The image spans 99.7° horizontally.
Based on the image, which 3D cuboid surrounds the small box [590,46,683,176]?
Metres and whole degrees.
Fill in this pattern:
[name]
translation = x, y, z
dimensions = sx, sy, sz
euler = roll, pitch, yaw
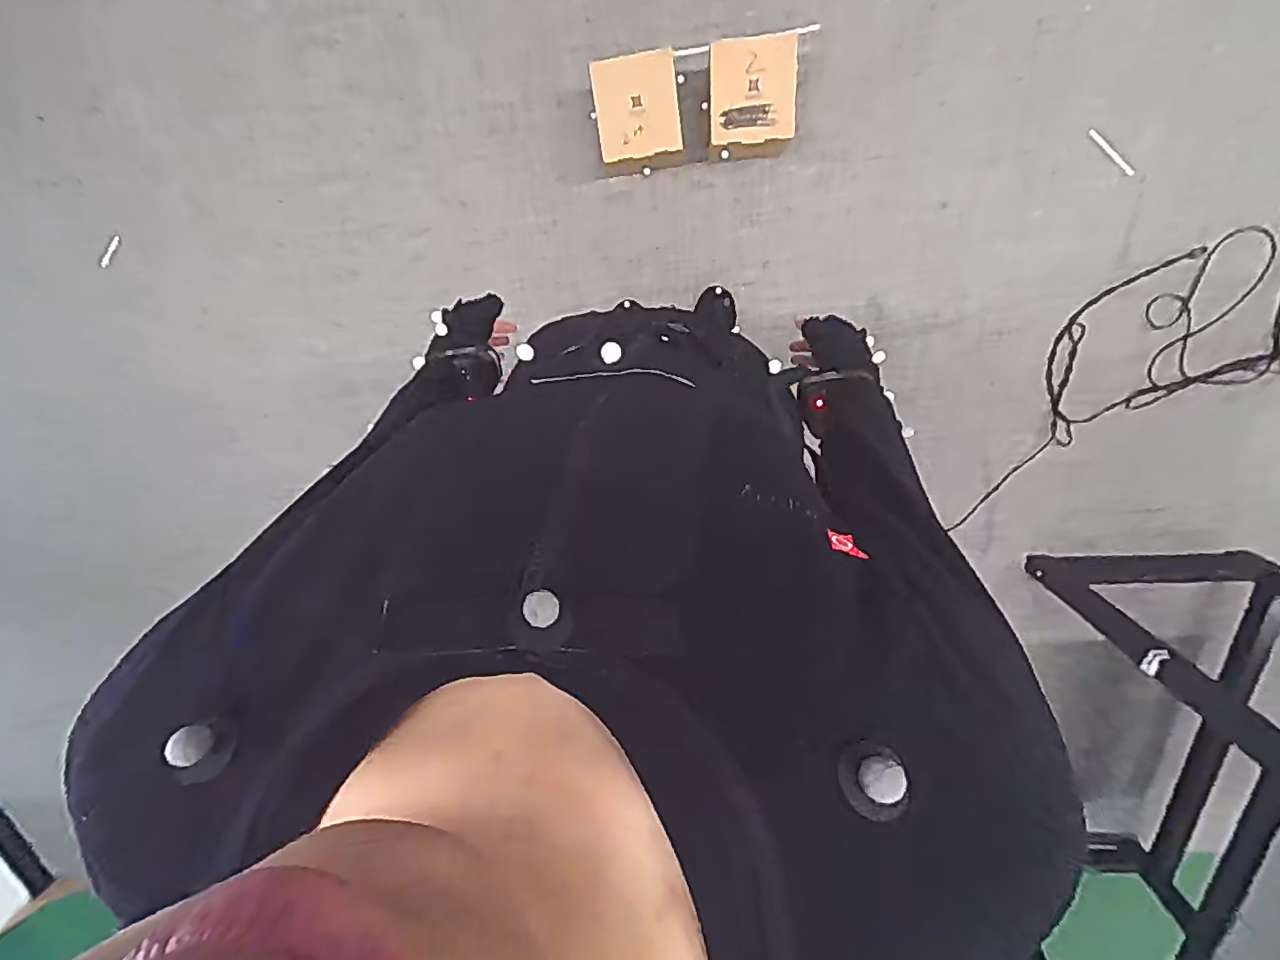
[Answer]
[small box]
translation = 0.000, -0.765, 1.141
dimensions = 0.168, 0.176, 0.179
euler = -6, 110, 8
